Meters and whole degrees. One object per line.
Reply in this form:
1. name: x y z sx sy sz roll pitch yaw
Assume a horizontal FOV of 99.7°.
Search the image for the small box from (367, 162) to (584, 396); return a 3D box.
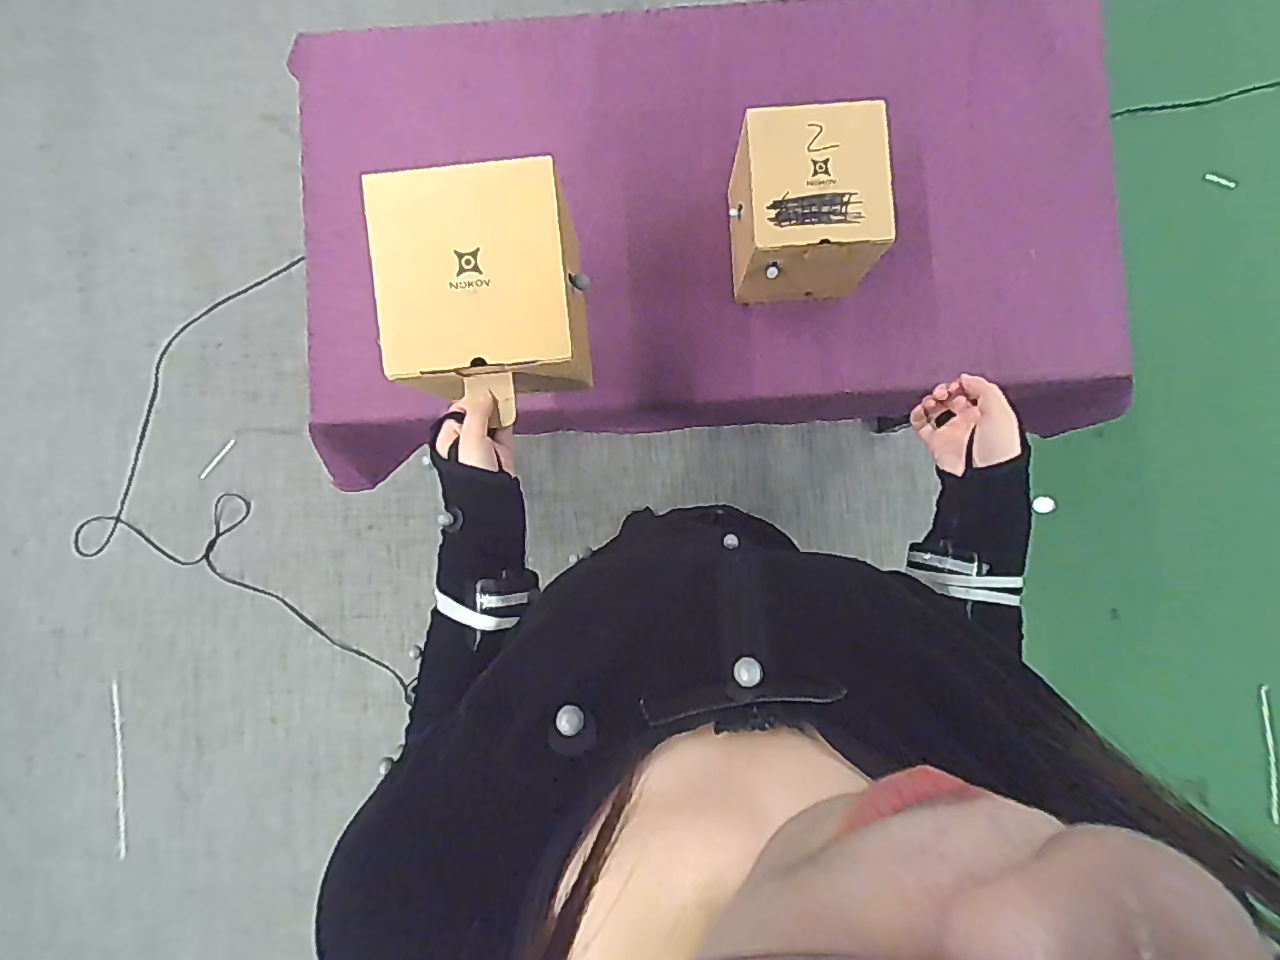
1. small box: -0.152 -0.190 0.557 0.168 0.176 0.179 -6 93 0
